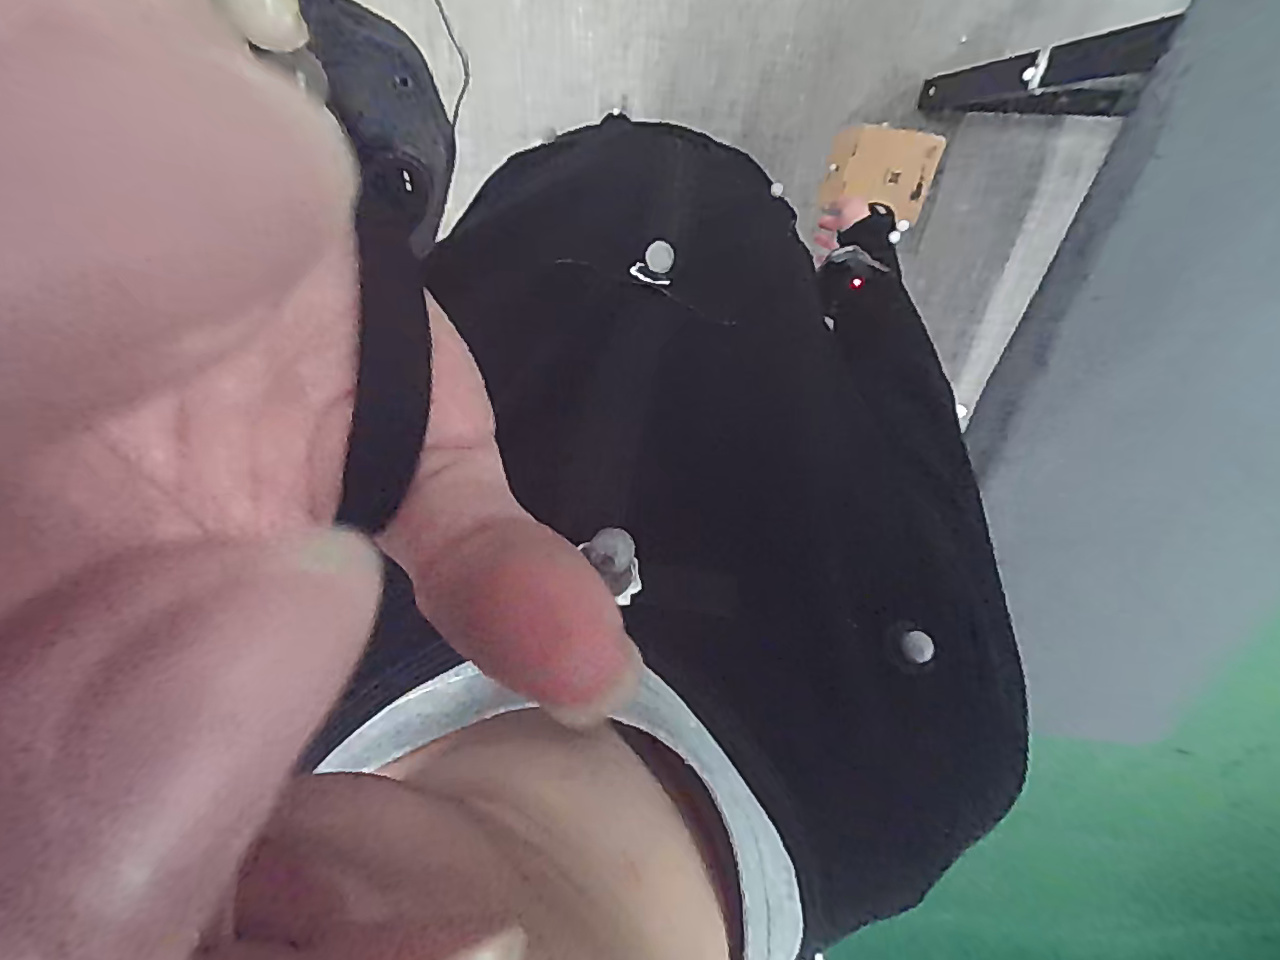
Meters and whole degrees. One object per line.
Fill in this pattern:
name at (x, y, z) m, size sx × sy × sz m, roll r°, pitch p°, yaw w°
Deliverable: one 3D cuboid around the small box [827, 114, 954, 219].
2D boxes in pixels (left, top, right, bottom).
small box at (0.525, -0.675, 1.168) m, size 0.179 × 0.176 × 0.168 m, roll 7°, pitch 122°, yaw -3°
